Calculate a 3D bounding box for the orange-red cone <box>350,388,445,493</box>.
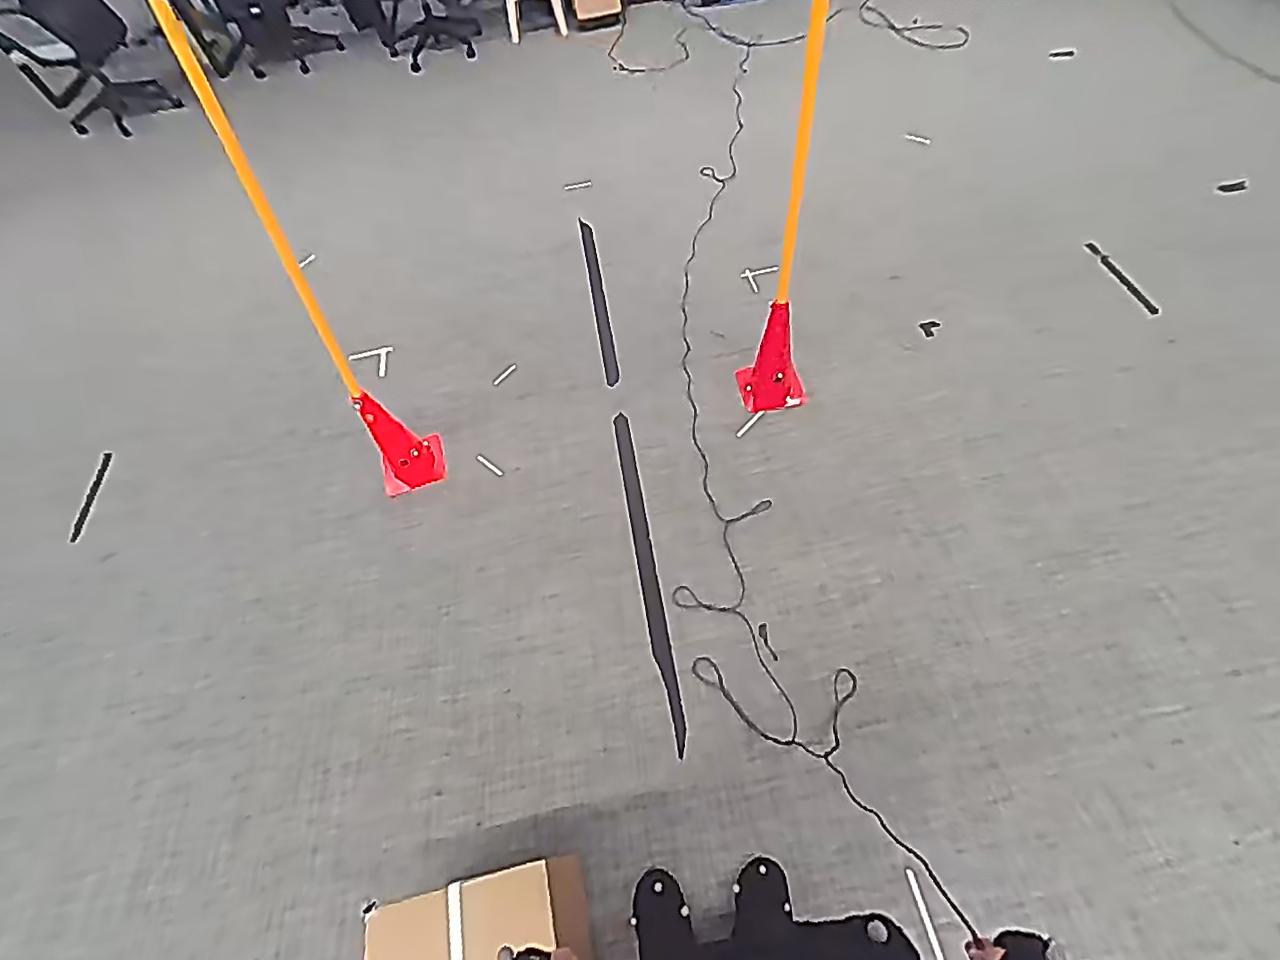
[{"bbox_3d":[-0.763,-0.146,1.634,0.199,0.360,0.198,-19,57,-4],"label":"orange-red cone"}]
